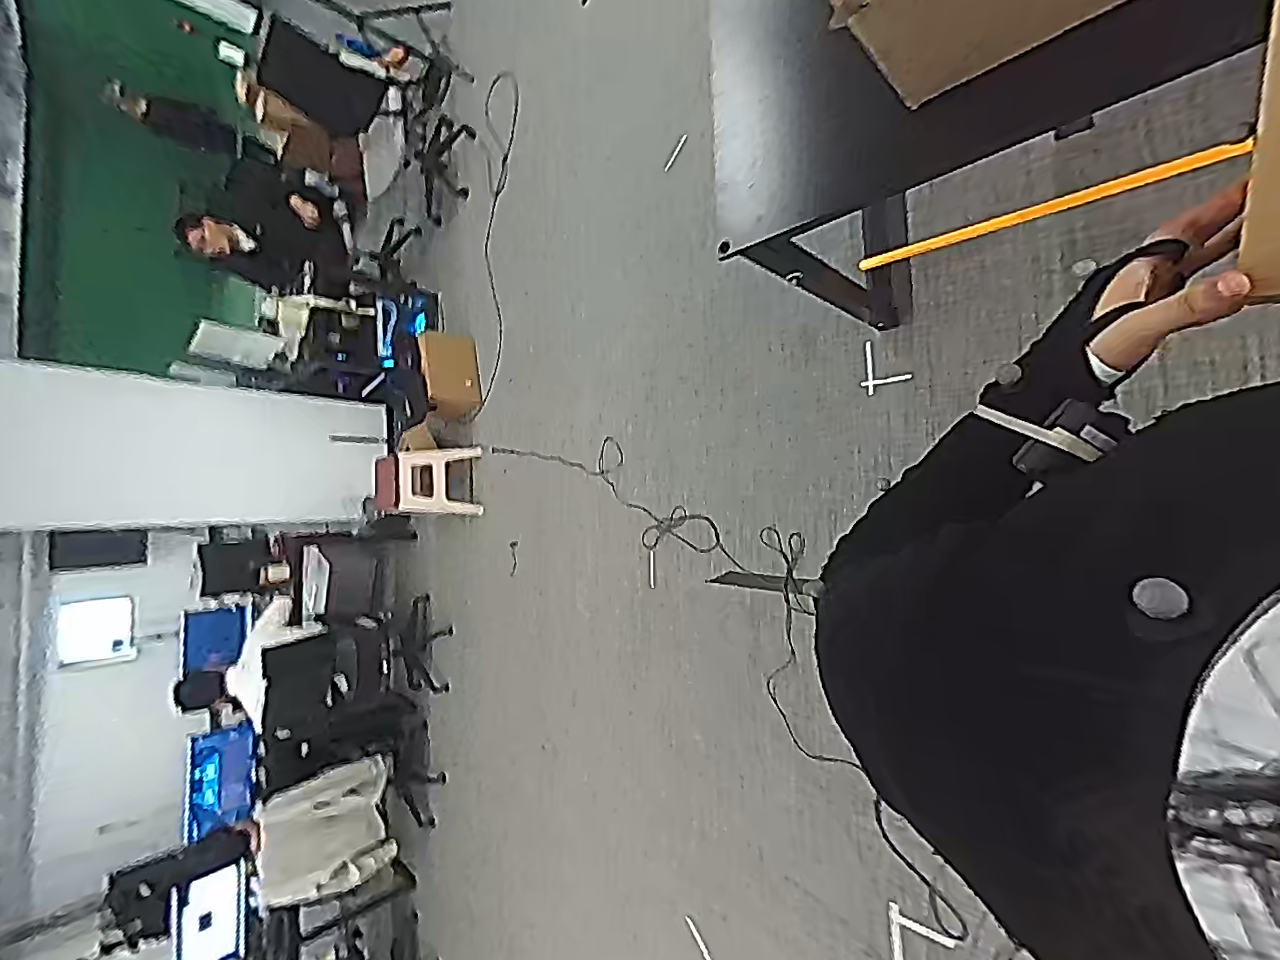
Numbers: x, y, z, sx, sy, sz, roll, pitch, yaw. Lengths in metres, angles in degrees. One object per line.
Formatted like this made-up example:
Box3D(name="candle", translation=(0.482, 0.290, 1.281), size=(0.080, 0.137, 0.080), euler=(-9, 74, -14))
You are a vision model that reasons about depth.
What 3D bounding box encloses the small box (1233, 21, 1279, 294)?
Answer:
Box3D(name="small box", translation=(0.441, -0.198, 0.275), size=(0.168, 0.176, 0.179), euler=(11, 109, 49))
